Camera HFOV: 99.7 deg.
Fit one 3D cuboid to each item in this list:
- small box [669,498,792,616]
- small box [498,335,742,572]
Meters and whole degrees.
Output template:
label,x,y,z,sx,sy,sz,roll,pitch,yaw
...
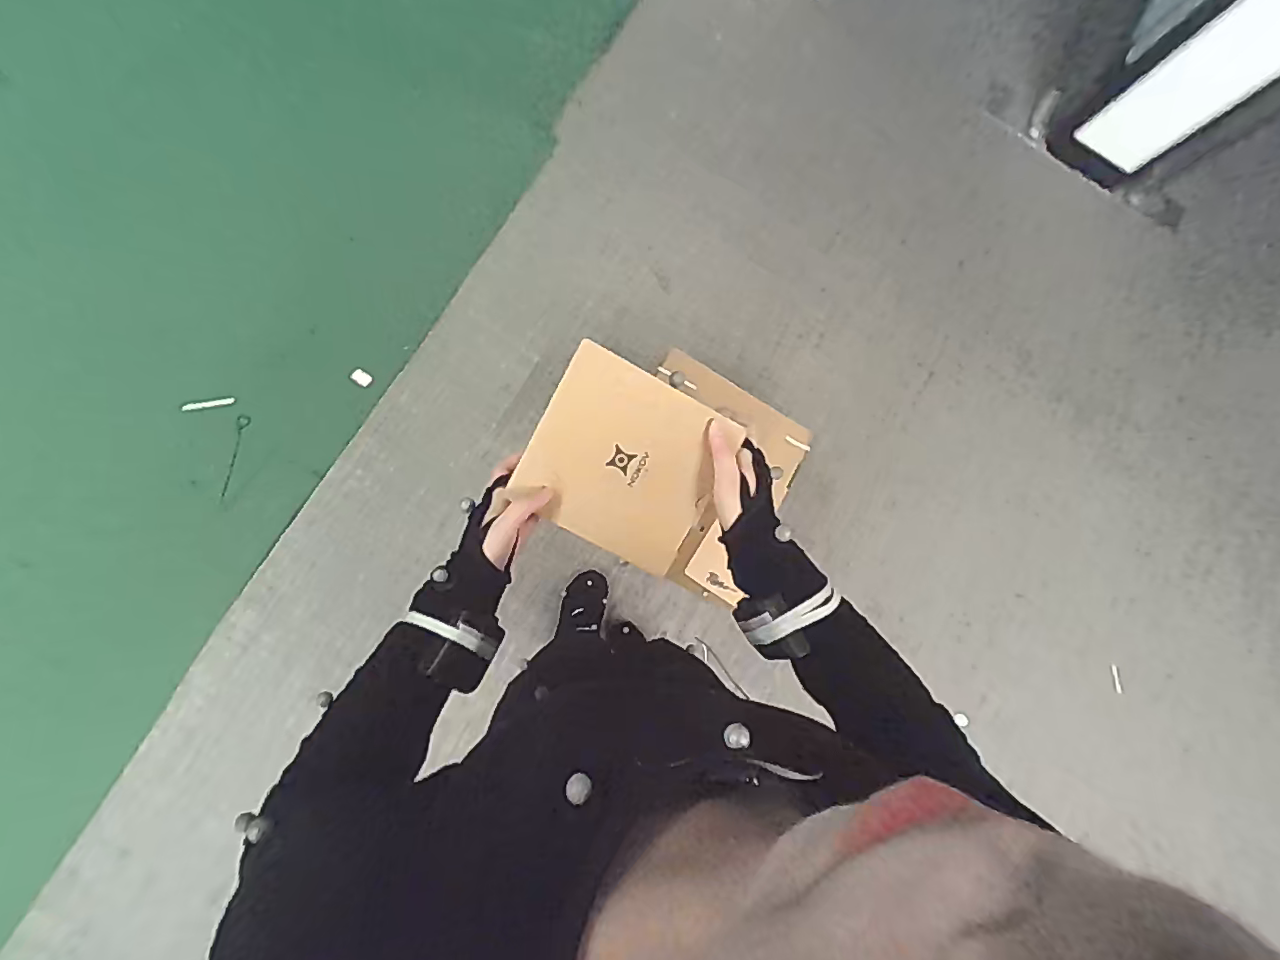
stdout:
label,x,y,z,sx,sy,sz,roll,pitch,yaw
small box,0.179,0.159,1.132,0.168,0.176,0.179,35,78,-3
small box,-0.024,-0.033,0.577,0.179,0.176,0.168,28,98,-9
